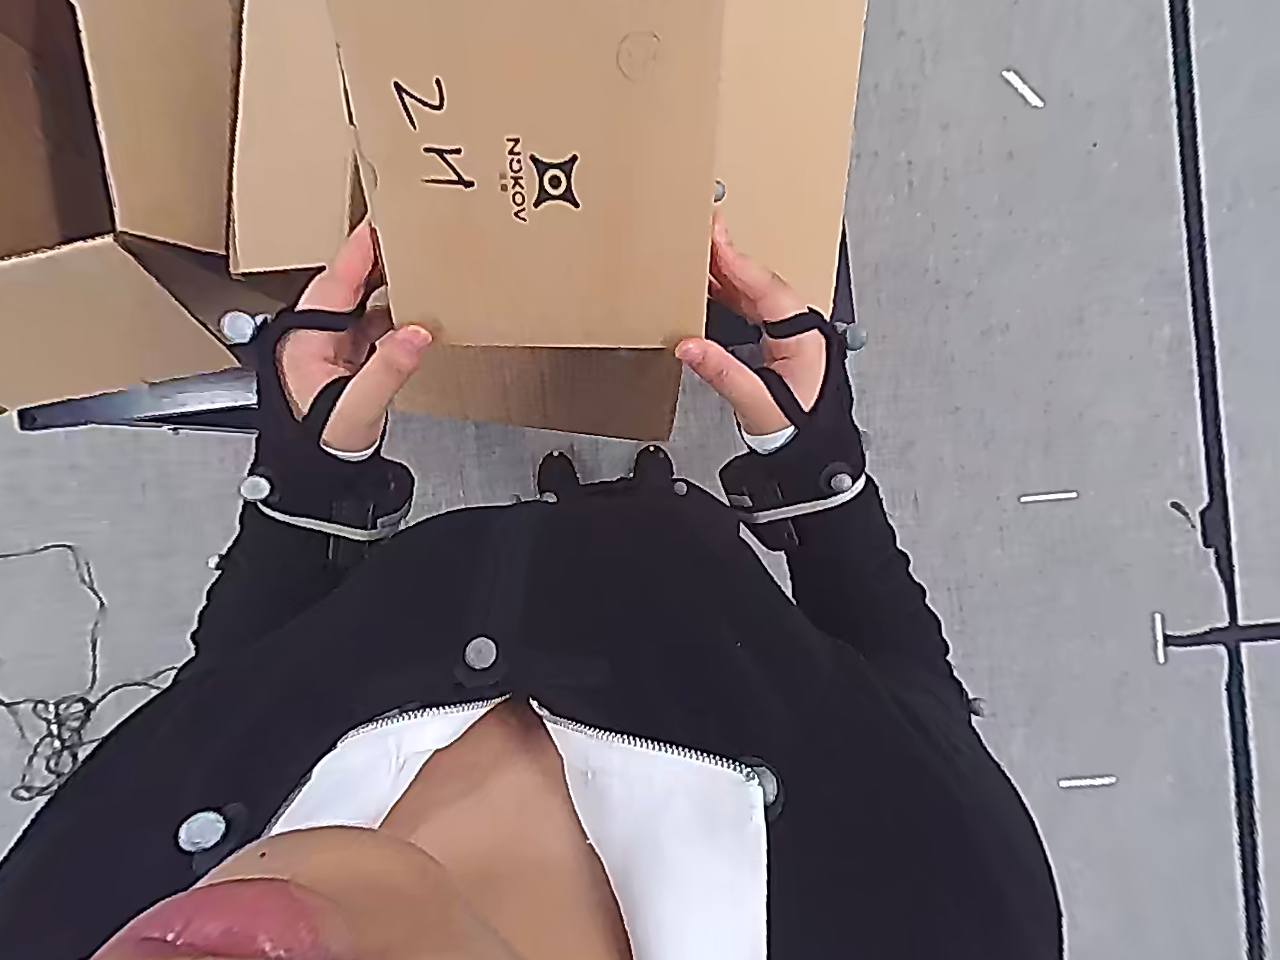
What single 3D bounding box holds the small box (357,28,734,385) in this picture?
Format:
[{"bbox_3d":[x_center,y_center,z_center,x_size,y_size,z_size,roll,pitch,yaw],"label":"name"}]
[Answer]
[{"bbox_3d":[-0.045,-0.170,0.354,0.179,0.176,0.168,2,119,0],"label":"small box"}]
